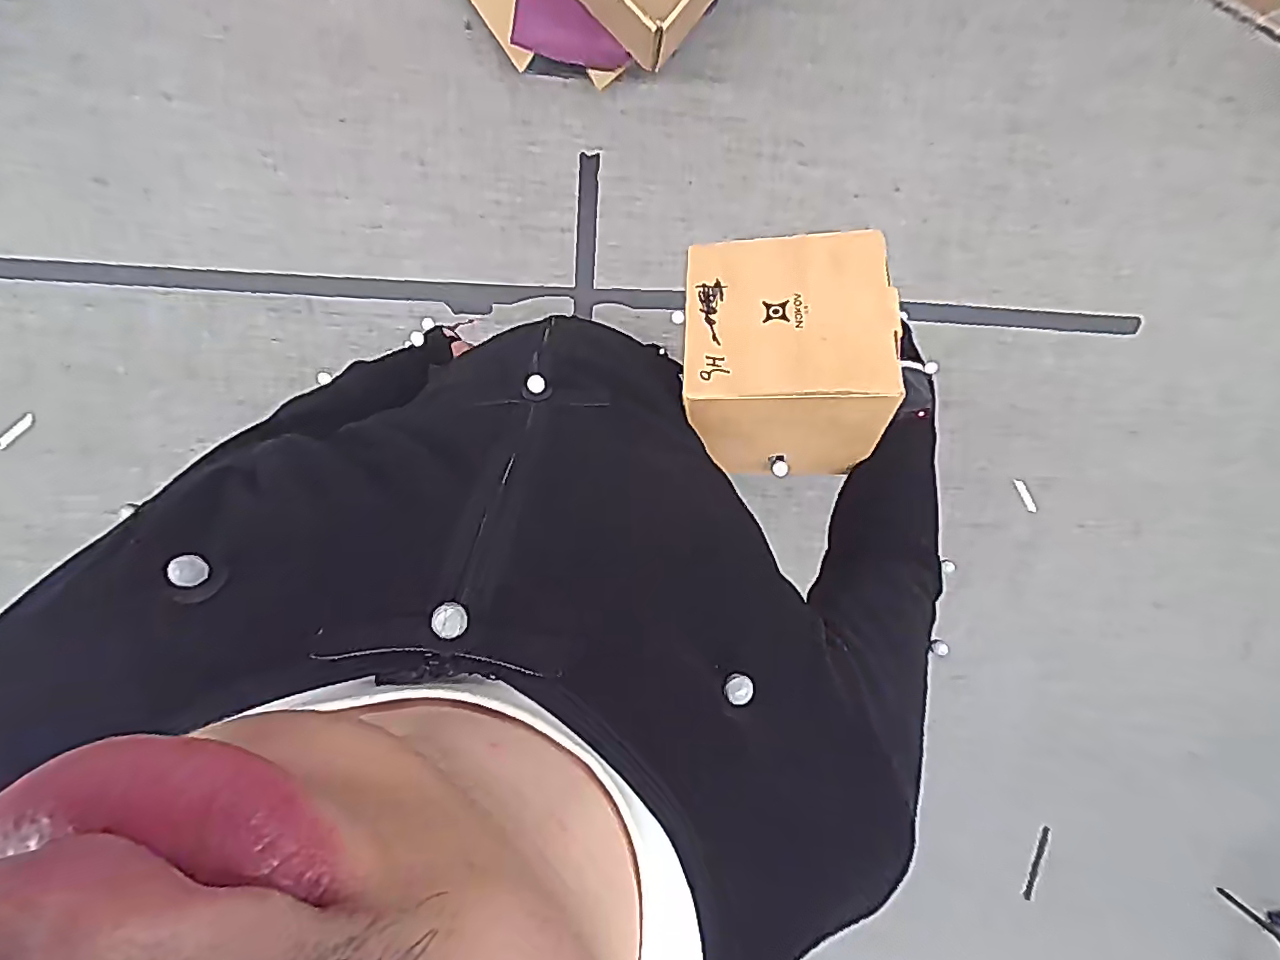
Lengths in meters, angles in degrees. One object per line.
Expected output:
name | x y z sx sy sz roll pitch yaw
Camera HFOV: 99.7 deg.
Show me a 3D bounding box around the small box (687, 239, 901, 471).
small box | 0.143 -0.116 0.552 0.179 0.176 0.168 0 68 10
